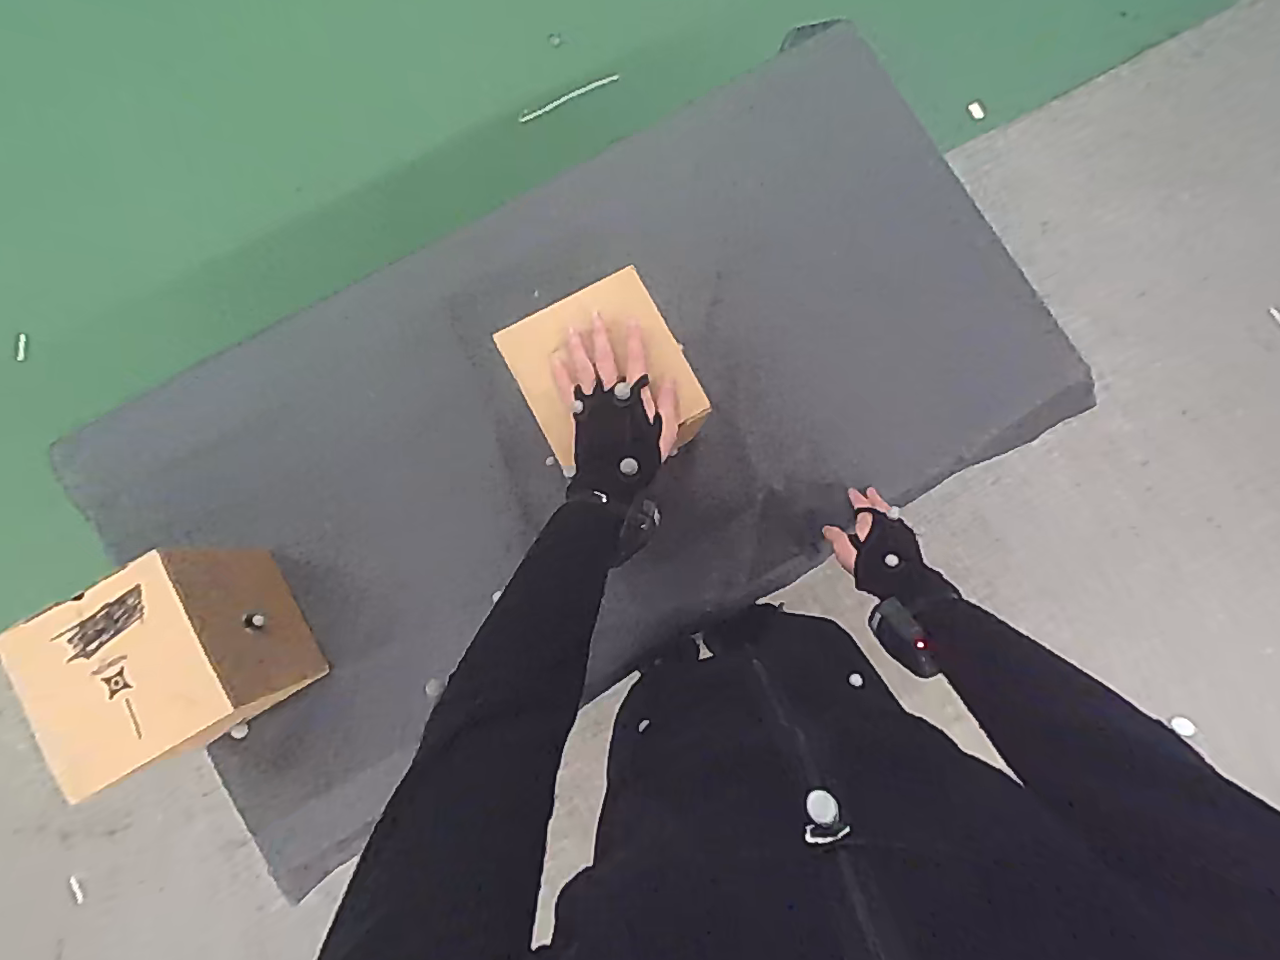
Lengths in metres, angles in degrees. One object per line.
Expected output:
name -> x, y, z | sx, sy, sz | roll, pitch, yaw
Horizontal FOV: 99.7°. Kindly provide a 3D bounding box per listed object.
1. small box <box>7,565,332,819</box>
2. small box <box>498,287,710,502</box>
small box -> -0.482, 0.207, 0.584 | 0.168, 0.176, 0.179 | -31, 85, -5
small box -> -0.039, -0.084, 0.637 | 0.168, 0.176, 0.179 | -29, 84, -6
